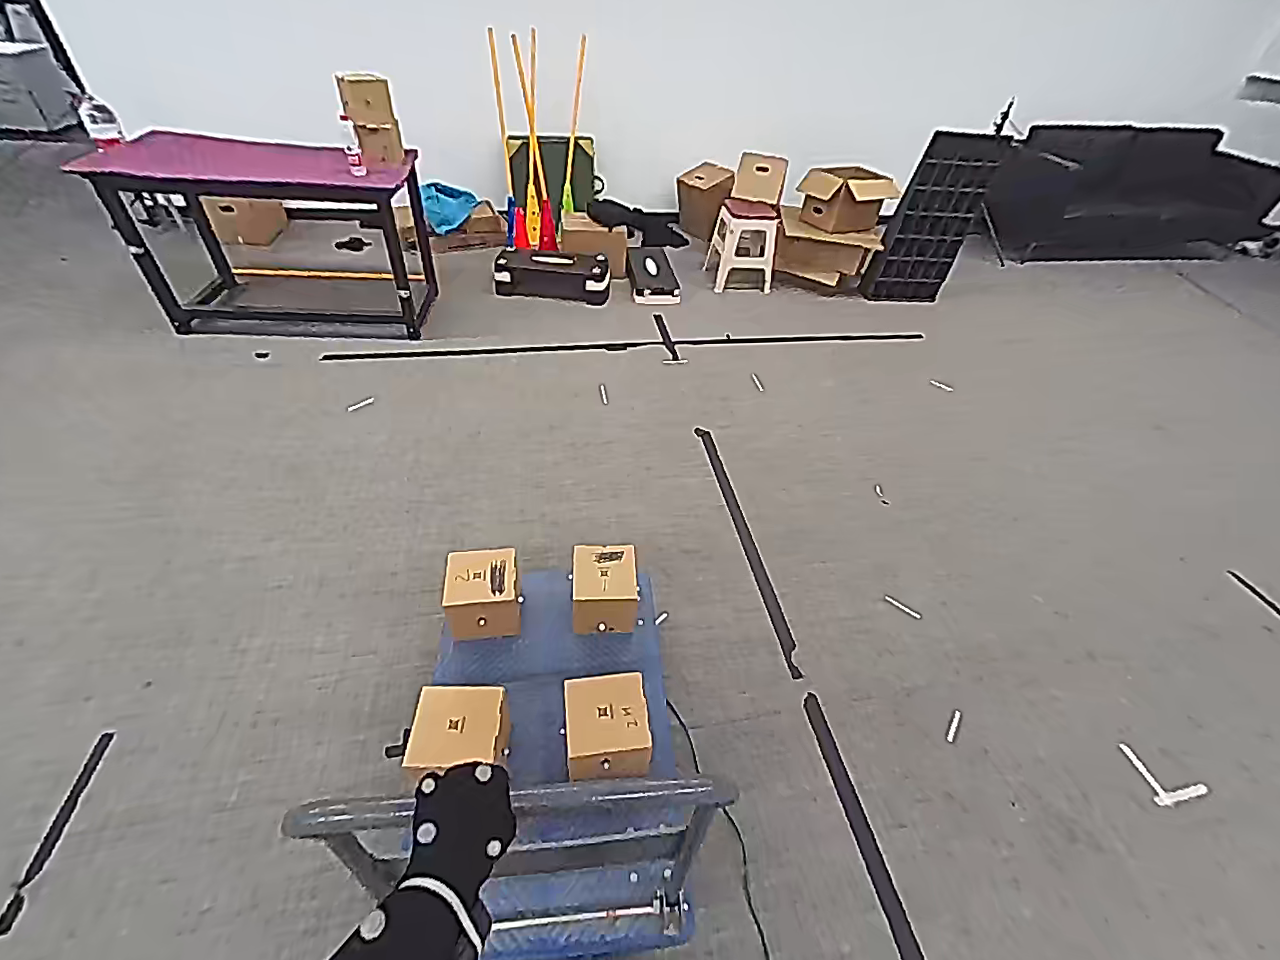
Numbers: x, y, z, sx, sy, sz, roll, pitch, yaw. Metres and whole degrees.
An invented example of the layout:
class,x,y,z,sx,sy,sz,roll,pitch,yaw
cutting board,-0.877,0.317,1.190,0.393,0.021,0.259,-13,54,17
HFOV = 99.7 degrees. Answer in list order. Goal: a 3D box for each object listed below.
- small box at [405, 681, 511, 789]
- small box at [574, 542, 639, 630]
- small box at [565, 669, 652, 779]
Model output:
class,x,y,z,sx,sy,sz,roll,pitch,yaw
small box,-0.382,0.553,1.167,0.179,0.176,0.168,3,43,-6
small box,-0.094,0.289,1.473,0.168,0.176,0.179,1,45,-5
small box,-0.075,0.546,1.206,0.179,0.176,0.168,-3,44,-9
